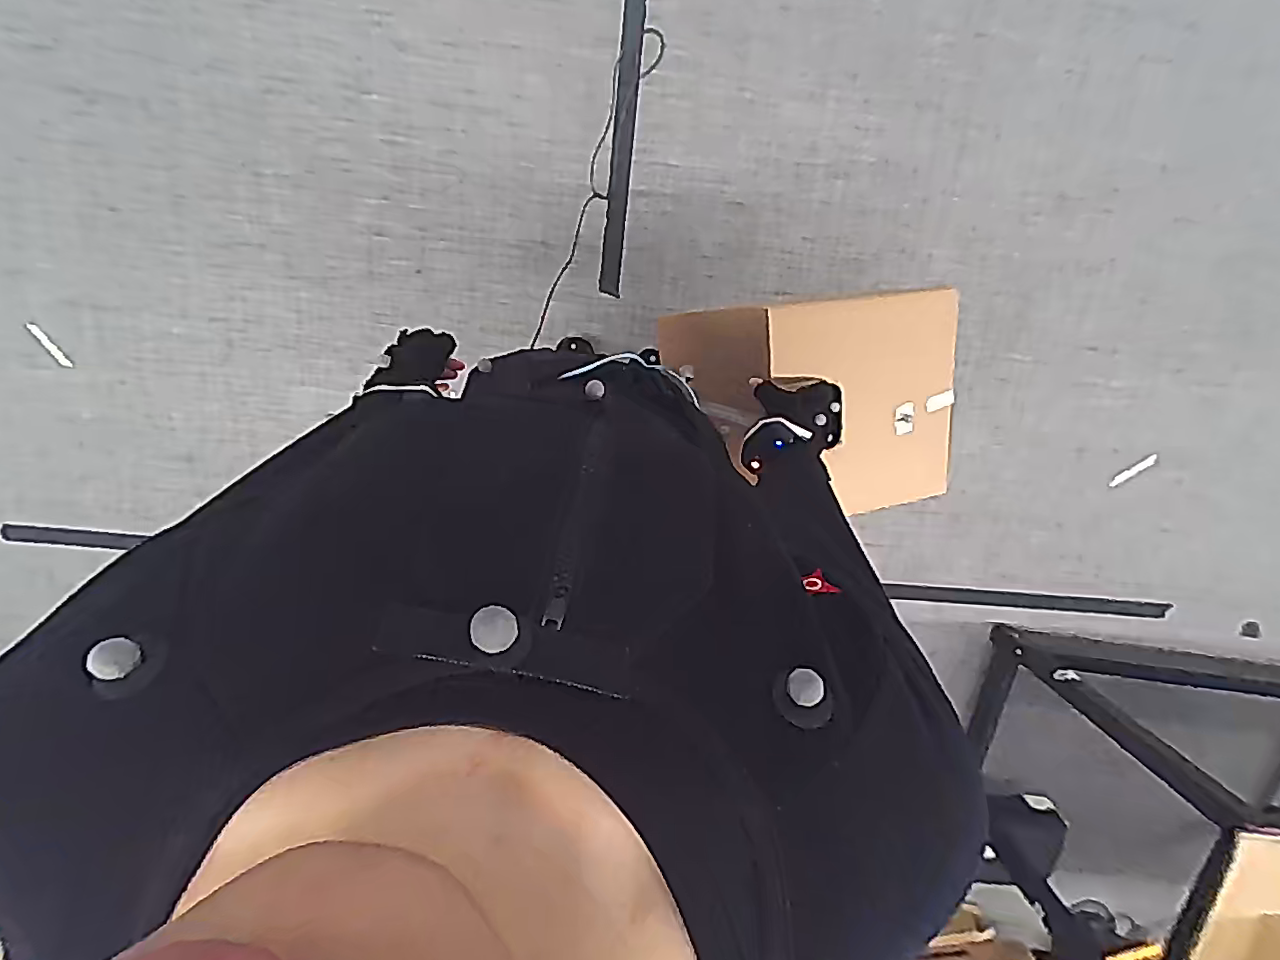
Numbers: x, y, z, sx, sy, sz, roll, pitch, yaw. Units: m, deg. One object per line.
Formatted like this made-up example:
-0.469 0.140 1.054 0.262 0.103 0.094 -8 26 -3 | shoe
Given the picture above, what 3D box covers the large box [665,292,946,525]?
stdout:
0.264 -0.148 0.965 0.320 0.408 0.320 -9 107 -15 | large box
